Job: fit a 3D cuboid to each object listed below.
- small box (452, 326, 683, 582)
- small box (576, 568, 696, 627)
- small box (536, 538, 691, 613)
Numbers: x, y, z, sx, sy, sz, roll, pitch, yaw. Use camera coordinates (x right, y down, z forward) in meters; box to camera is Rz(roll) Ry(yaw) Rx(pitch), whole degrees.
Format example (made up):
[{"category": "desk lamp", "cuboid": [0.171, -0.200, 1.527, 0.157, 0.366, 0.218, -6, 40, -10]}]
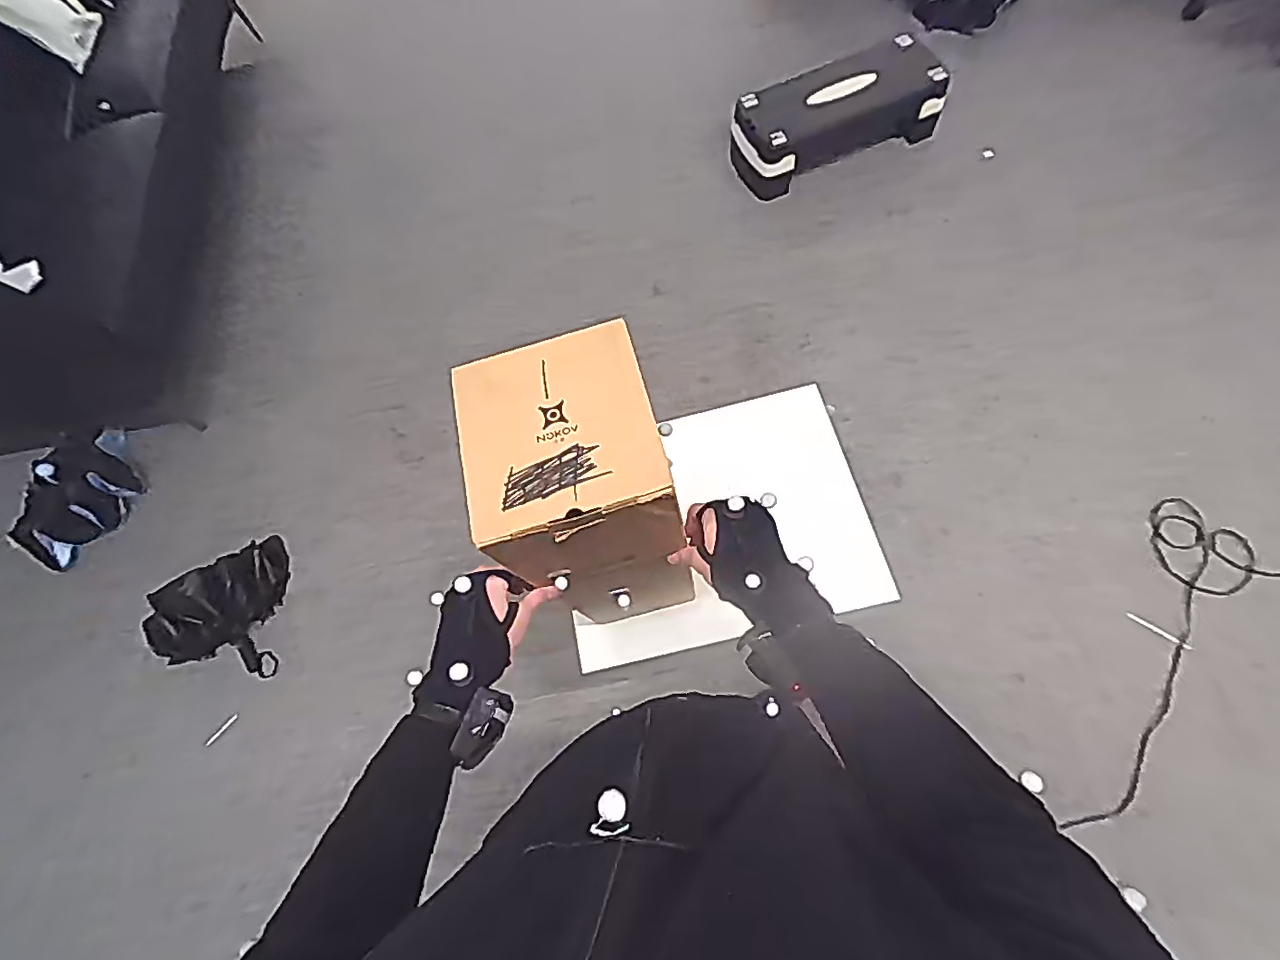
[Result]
[{"category": "small box", "cuboid": [-0.061, -0.010, 0.526, 0.168, 0.176, 0.179, -16, 65, 2]}, {"category": "small box", "cuboid": [-0.016, 0.111, 0.827, 0.168, 0.176, 0.179, -15, 66, 2]}, {"category": "small box", "cuboid": [-0.039, 0.052, 0.677, 0.168, 0.176, 0.179, -17, 67, 2]}]
